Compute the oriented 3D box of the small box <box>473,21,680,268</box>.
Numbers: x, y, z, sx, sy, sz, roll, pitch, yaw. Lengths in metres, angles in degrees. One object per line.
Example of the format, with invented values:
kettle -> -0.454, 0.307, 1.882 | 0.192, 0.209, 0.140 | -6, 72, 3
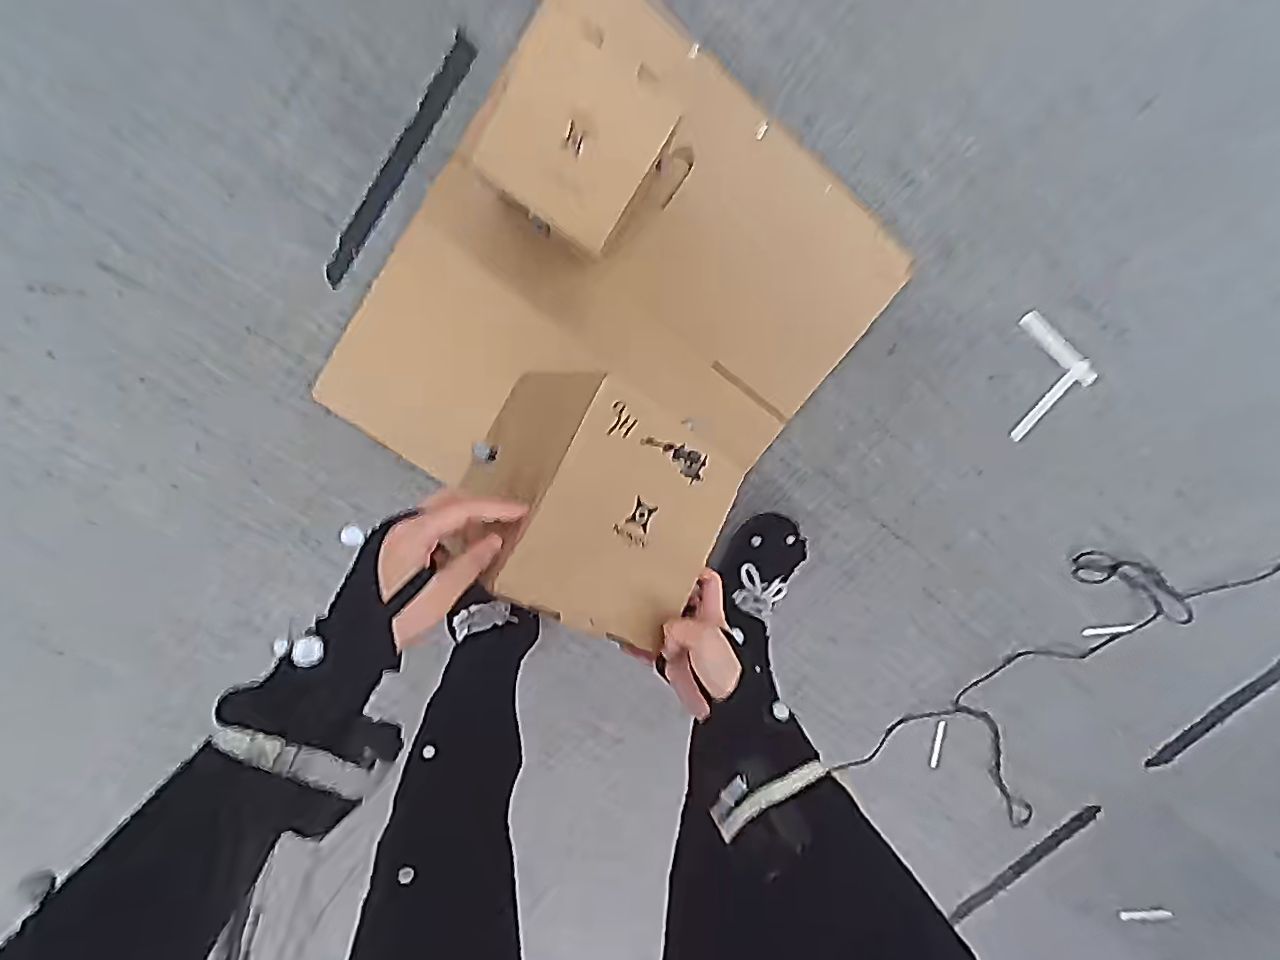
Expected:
small box -> -0.075, -0.382, 0.659 | 0.168, 0.176, 0.179 | 31, 104, -12
